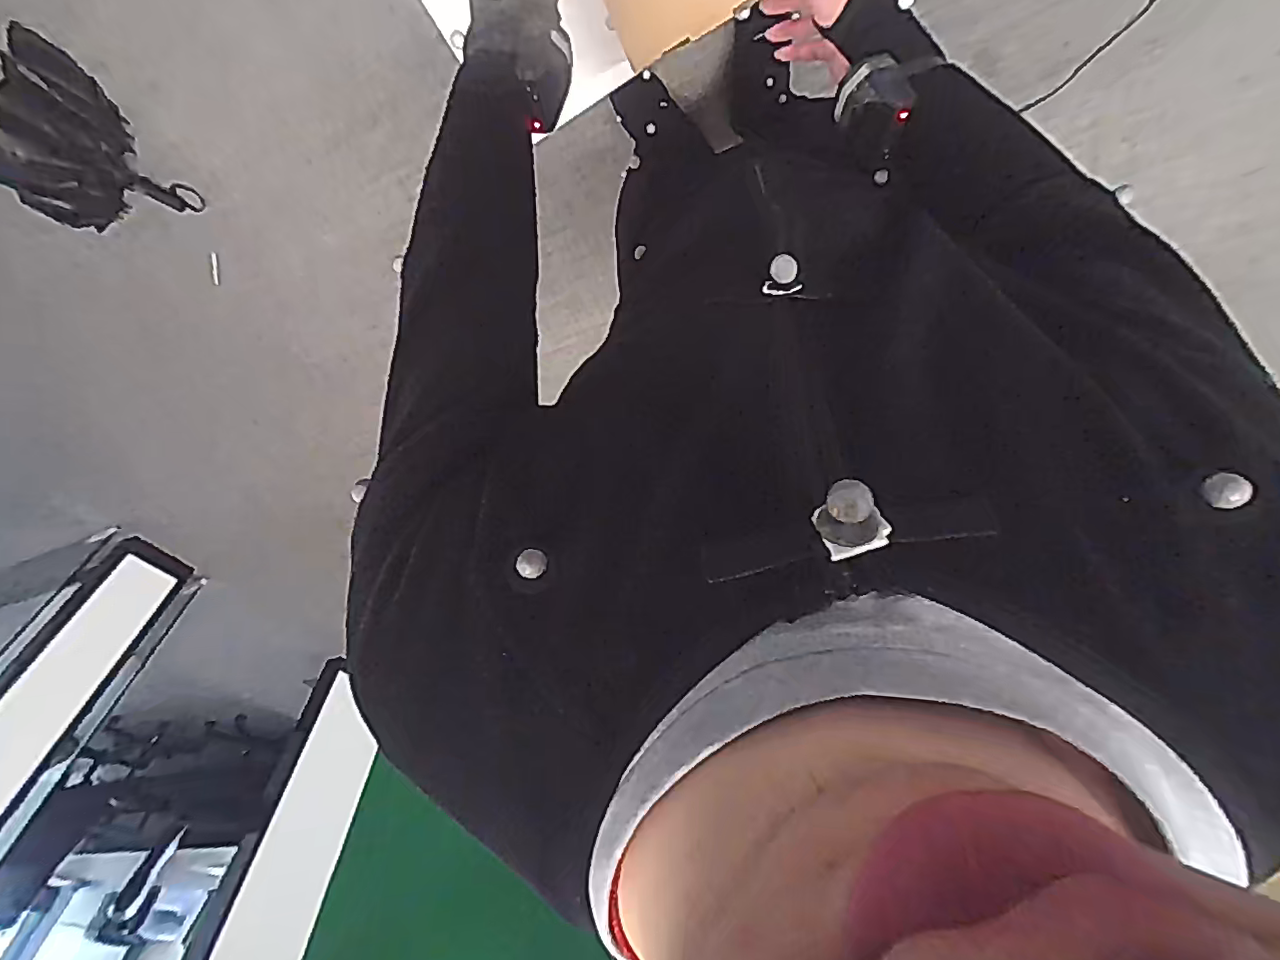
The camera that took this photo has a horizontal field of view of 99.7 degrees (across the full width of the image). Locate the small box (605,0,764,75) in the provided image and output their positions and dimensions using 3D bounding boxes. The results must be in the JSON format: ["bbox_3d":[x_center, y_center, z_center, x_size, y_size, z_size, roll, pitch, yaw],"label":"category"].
[{"bbox_3d":[0.036,-0.541,0.521,0.168,0.176,0.179,-19,129,21],"label":"small box"}]
